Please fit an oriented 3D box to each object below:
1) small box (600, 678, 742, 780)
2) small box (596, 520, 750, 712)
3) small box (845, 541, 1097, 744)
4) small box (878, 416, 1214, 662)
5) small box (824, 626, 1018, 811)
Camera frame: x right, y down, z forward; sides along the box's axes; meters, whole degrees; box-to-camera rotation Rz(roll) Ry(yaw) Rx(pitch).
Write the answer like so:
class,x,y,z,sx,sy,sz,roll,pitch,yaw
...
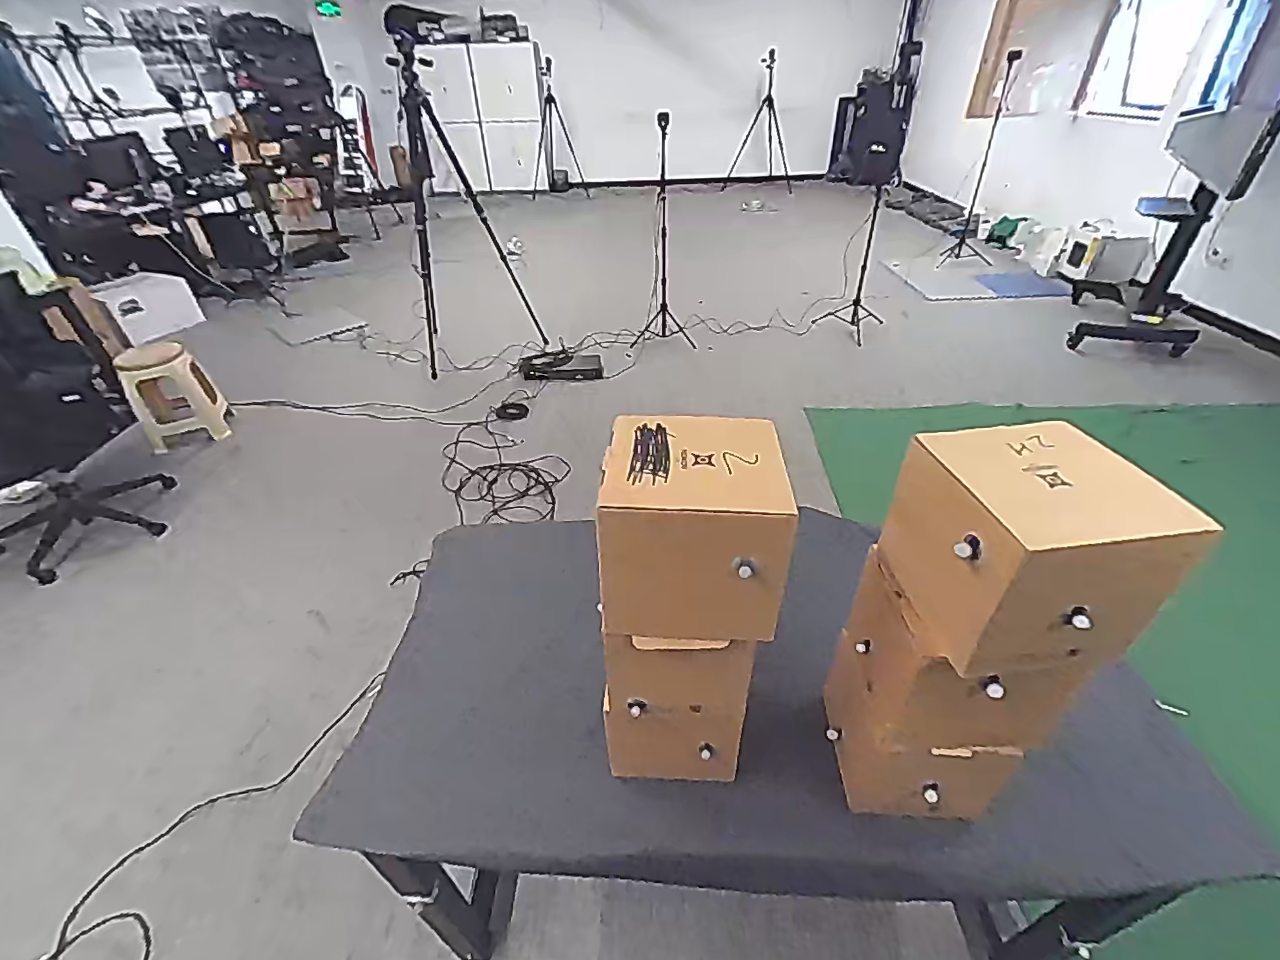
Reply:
class,x,y,z,sx,sy,sz,roll,pitch,yaw
small box,0.045,0.305,0.771,0.179,0.176,0.168,-1,35,4
small box,0.039,0.172,0.676,0.168,0.176,0.179,-2,35,1
small box,0.360,0.187,0.632,0.179,0.176,0.168,-2,36,3
small box,0.360,0.059,0.527,0.168,0.176,0.179,-6,36,-4
small box,0.357,0.319,0.727,0.168,0.176,0.179,0,37,5
